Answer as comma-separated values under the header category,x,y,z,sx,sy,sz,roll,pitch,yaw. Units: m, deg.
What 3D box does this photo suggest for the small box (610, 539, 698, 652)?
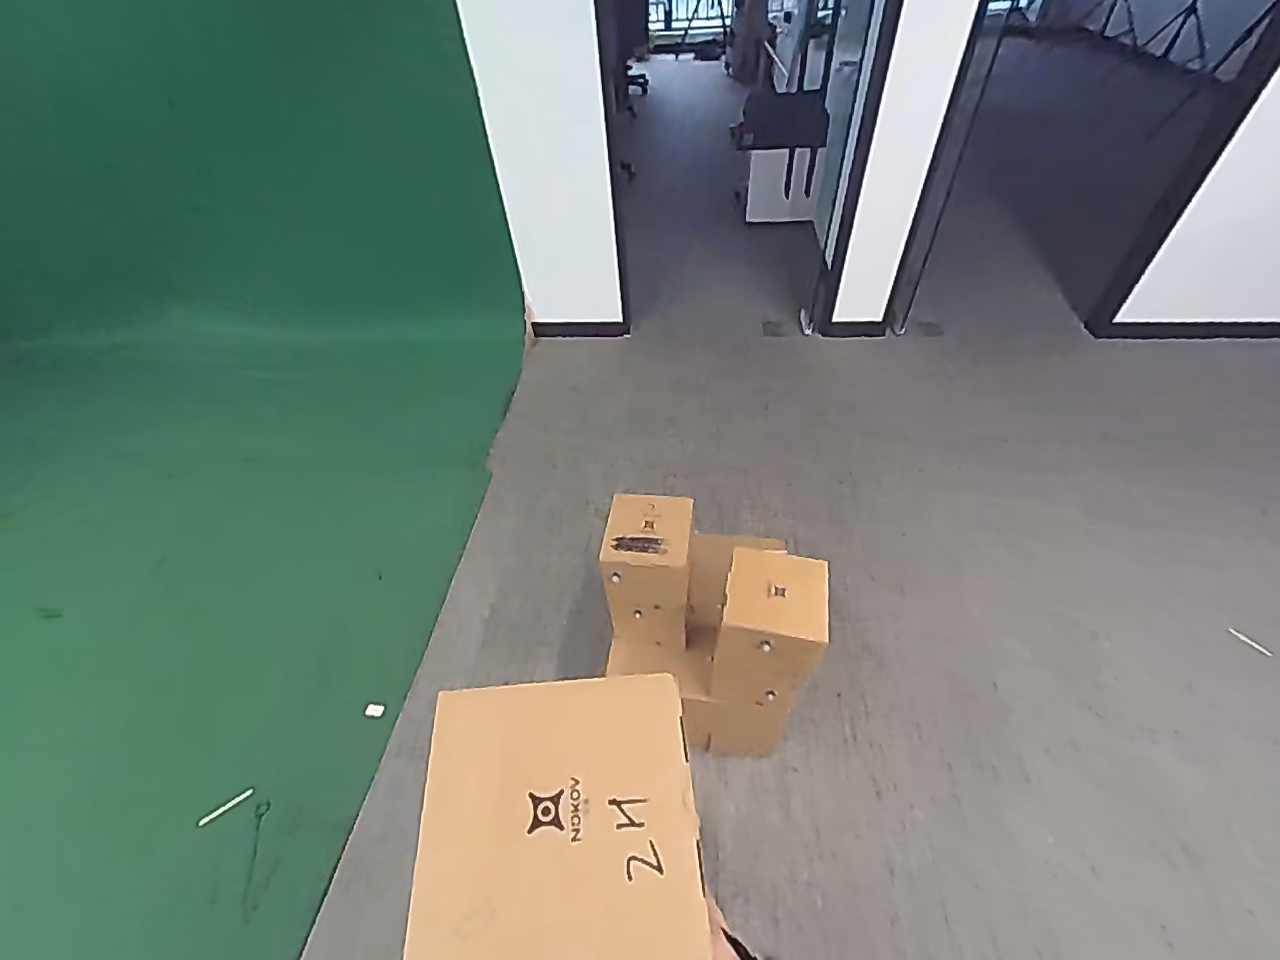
category,x,y,z,sx,sy,sz,roll,pitch,yaw
small box,0.037,0.262,1.231,0.168,0.176,0.179,6,46,11

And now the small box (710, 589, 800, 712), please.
category,x,y,z,sx,sy,sz,roll,pitch,yaw
small box,0.240,0.357,1.125,0.168,0.176,0.179,8,46,10

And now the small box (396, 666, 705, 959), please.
category,x,y,z,sx,sy,sz,roll,pitch,yaw
small box,-0.056,0.255,0.410,0.179,0.176,0.168,-3,53,-4

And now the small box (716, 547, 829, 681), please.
category,x,y,z,sx,sy,sz,roll,pitch,yaw
small box,0.242,0.251,1.000,0.179,0.176,0.168,8,48,11
